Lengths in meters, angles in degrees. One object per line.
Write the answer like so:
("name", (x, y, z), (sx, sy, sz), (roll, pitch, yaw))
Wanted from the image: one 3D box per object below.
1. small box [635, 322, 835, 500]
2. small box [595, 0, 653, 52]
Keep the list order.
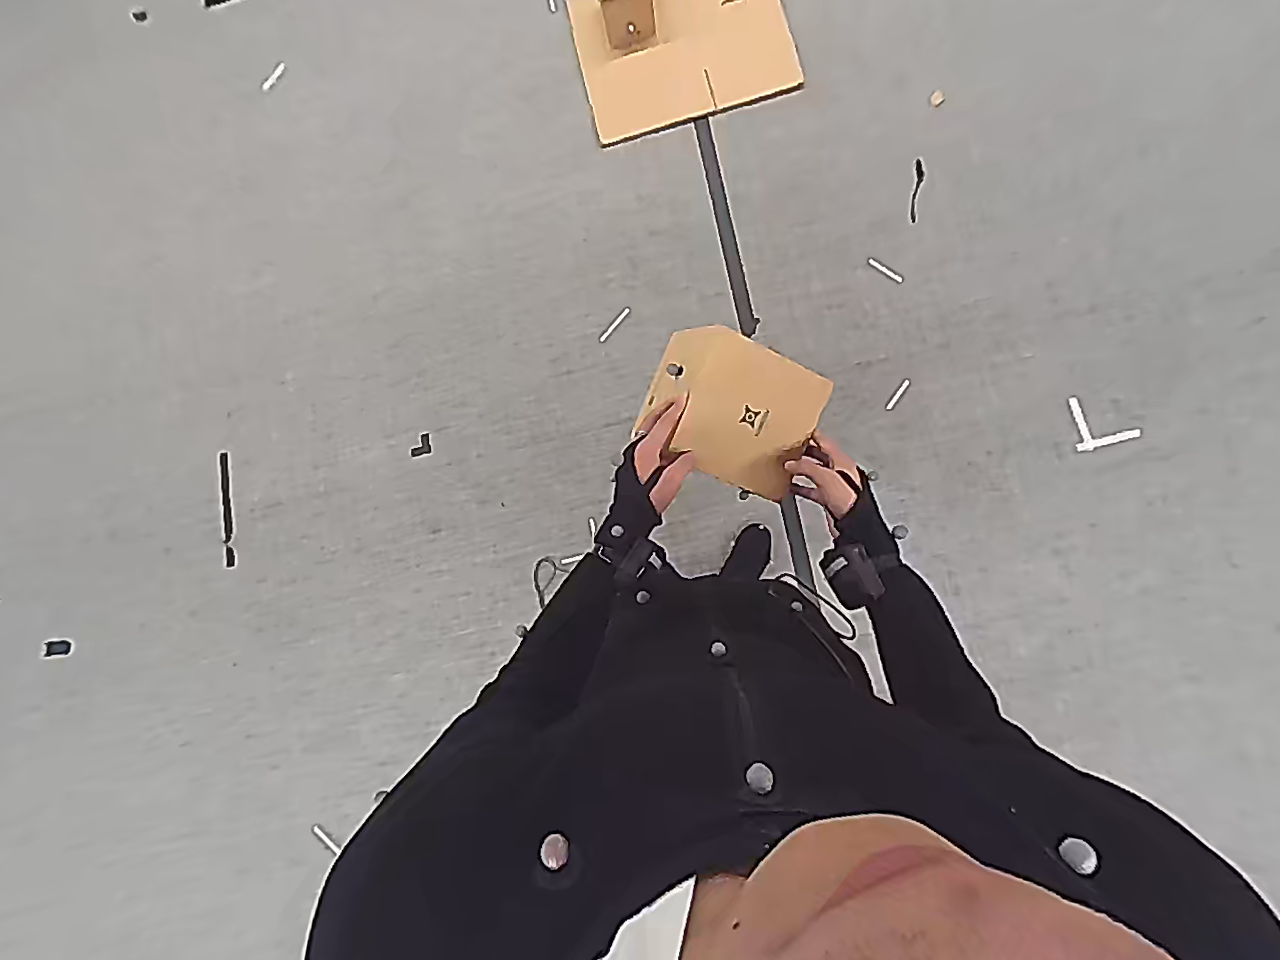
("small box", (0.113, -0.092, 0.721), (0.179, 0.176, 0.168), (21, 96, -20))
("small box", (-0.060, -1.582, 1.791), (0.168, 0.176, 0.179), (-14, 82, 6))
